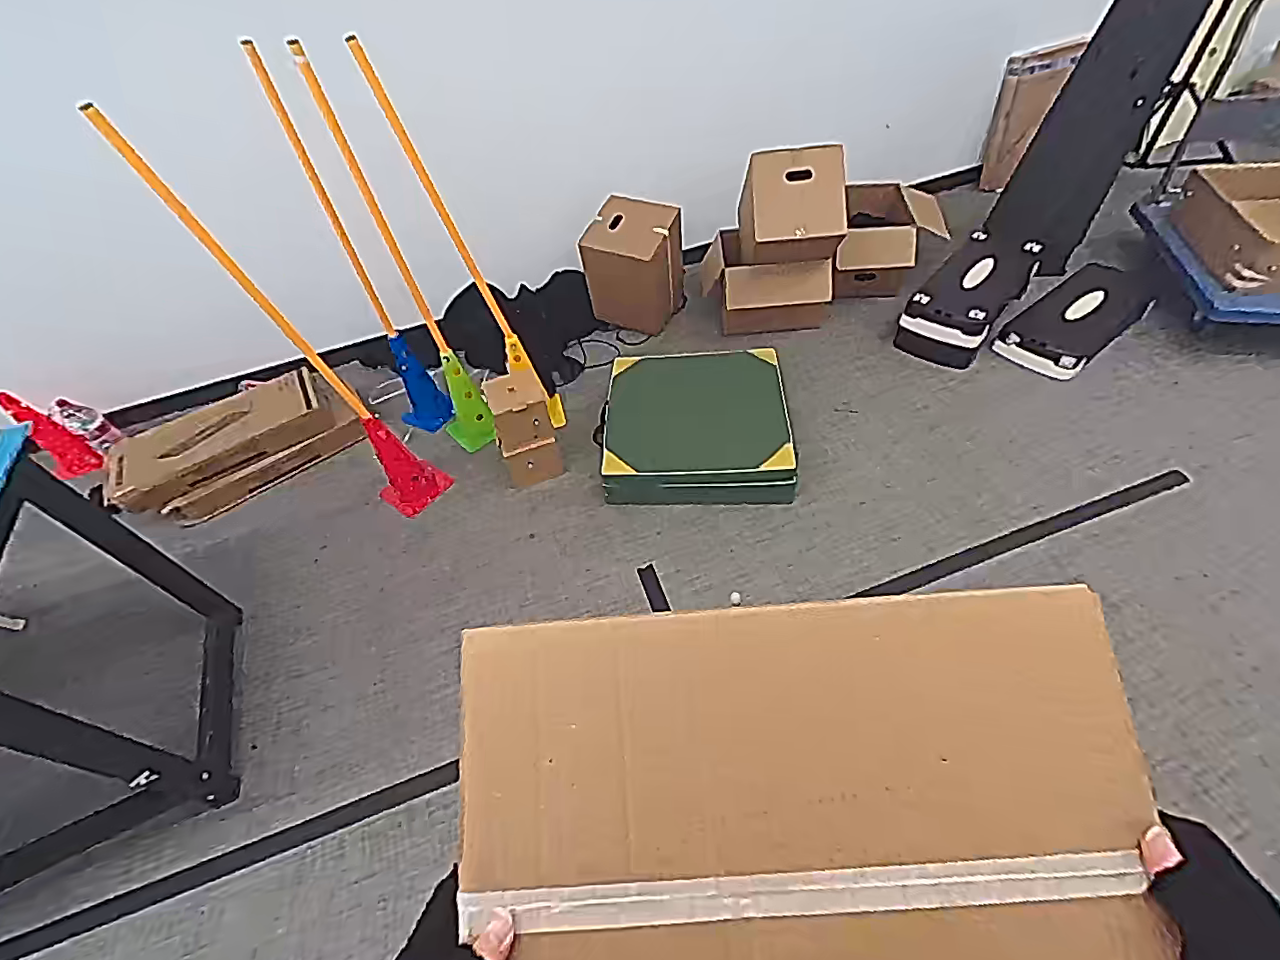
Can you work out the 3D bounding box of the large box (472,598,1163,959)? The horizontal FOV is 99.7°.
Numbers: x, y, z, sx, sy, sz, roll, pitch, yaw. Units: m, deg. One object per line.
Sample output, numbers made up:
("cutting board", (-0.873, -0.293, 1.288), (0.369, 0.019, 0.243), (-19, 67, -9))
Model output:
("large box", (0.108, 0.284, 0.468), (0.408, 0.320, 0.320), (-6, 78, 0))
